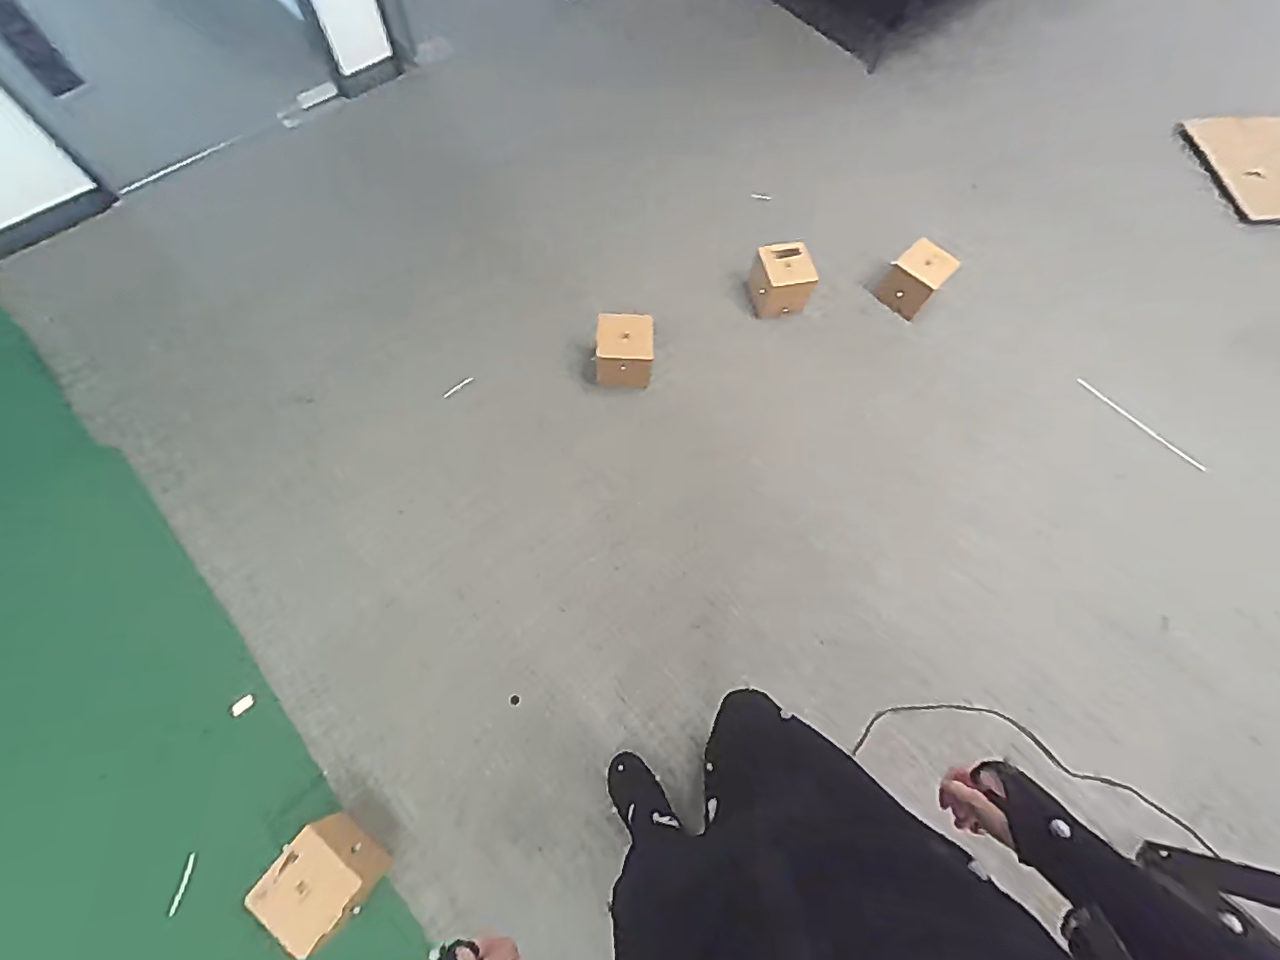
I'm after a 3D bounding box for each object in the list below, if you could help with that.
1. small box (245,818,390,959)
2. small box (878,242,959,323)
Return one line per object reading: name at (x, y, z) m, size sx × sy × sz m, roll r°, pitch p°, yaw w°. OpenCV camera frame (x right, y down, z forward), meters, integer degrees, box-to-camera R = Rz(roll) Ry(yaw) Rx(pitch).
small box at (-0.682, 0.870, 1.169) m, size 0.179 × 0.176 × 0.168 m, roll 35°, pitch 70°, yaw 11°
small box at (0.980, -0.696, 1.925) m, size 0.168 × 0.176 × 0.179 m, roll 42°, pitch 71°, yaw 13°
